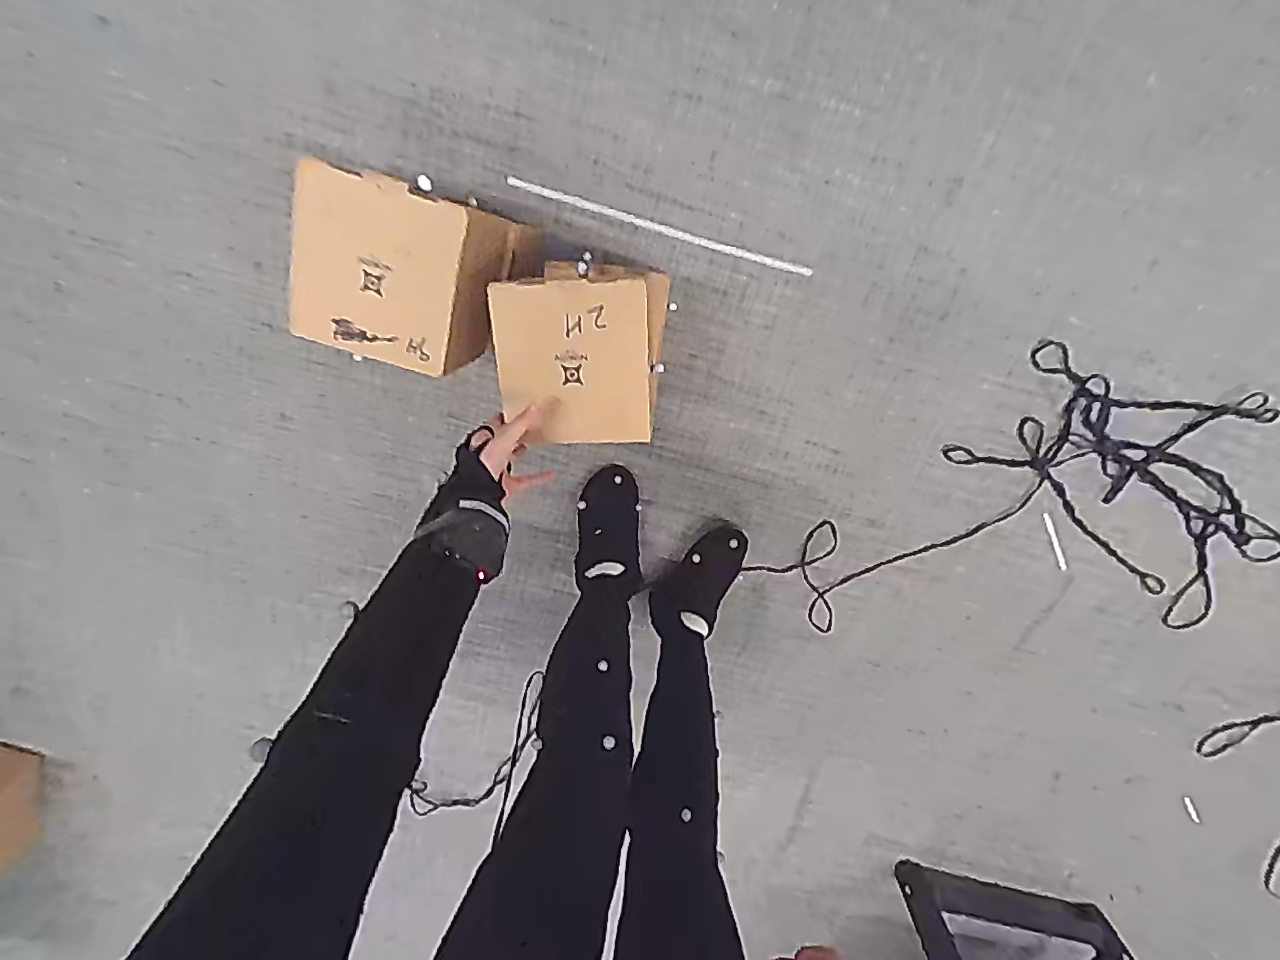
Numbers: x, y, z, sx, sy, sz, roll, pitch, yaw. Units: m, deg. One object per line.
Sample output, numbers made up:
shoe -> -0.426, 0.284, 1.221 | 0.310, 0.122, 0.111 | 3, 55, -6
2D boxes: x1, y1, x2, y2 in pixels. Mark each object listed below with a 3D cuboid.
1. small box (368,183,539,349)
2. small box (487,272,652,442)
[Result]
small box -> -0.255, -0.302, 0.772 | 0.179, 0.176, 0.168 | 16, 111, -4
small box -> -0.070, -0.154, 0.651 | 0.168, 0.176, 0.179 | 0, 111, 2
